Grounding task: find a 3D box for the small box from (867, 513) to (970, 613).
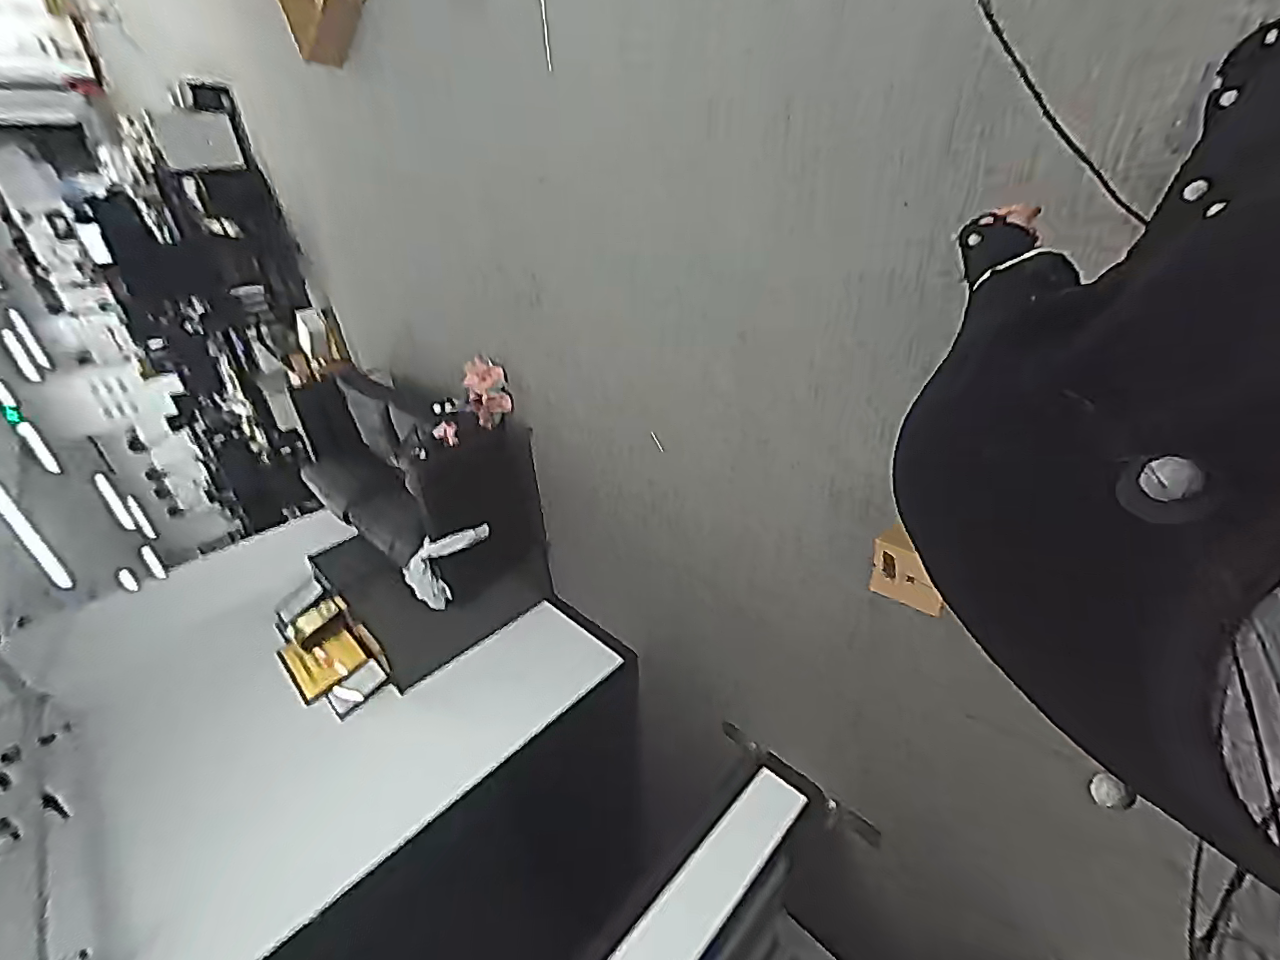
[{"bbox_3d":[0.717,0.204,1.395,0.179,0.176,0.168,22,127,39],"label":"small box"}]
